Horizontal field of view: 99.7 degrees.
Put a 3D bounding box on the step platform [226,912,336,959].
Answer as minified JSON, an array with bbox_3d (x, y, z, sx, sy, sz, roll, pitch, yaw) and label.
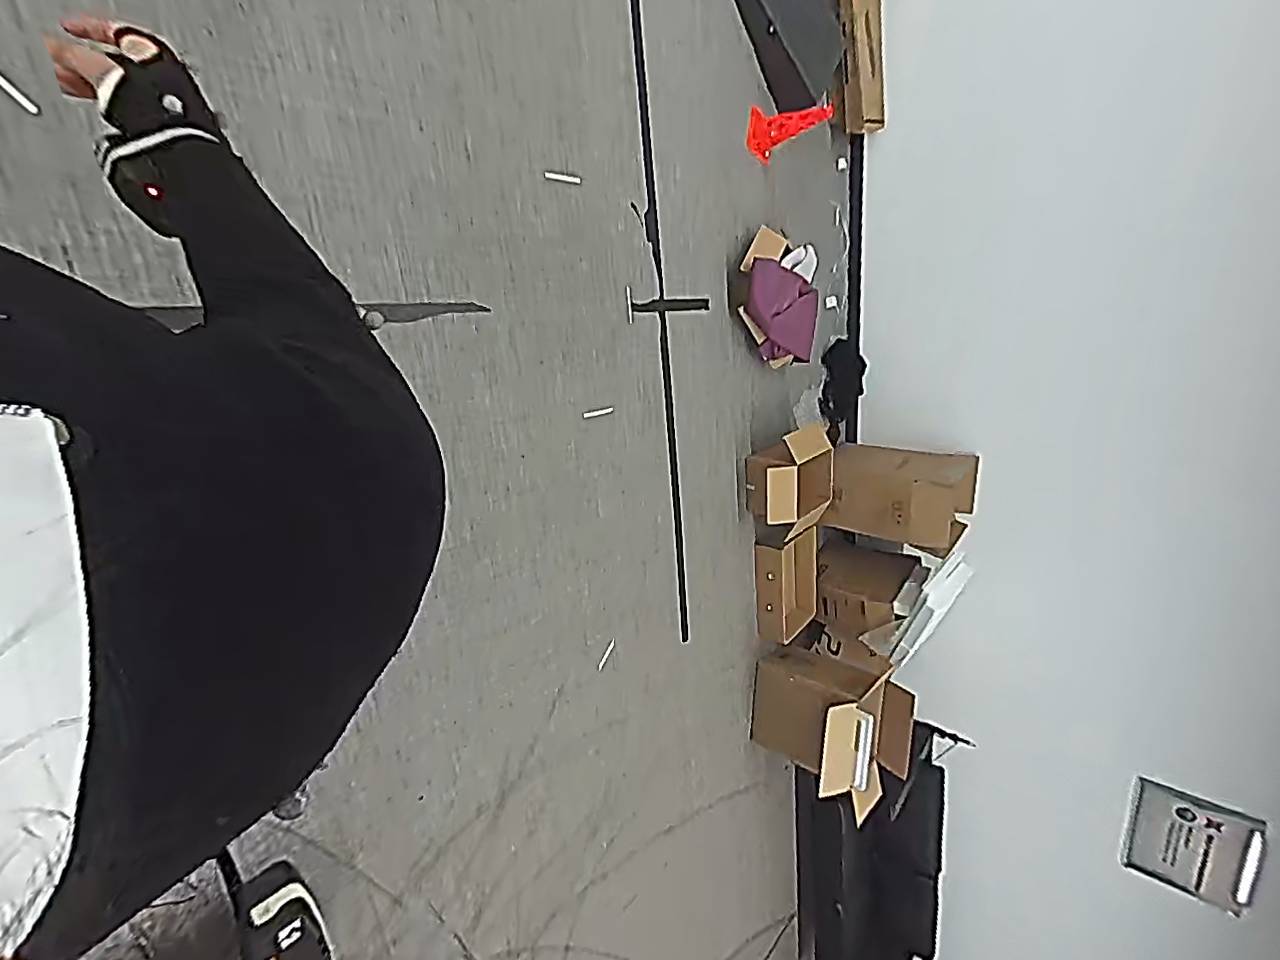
[{"bbox_3d":[-0.941,1.231,1.036,0.684,0.204,0.286,-23,115,-43],"label":"step platform"}]
